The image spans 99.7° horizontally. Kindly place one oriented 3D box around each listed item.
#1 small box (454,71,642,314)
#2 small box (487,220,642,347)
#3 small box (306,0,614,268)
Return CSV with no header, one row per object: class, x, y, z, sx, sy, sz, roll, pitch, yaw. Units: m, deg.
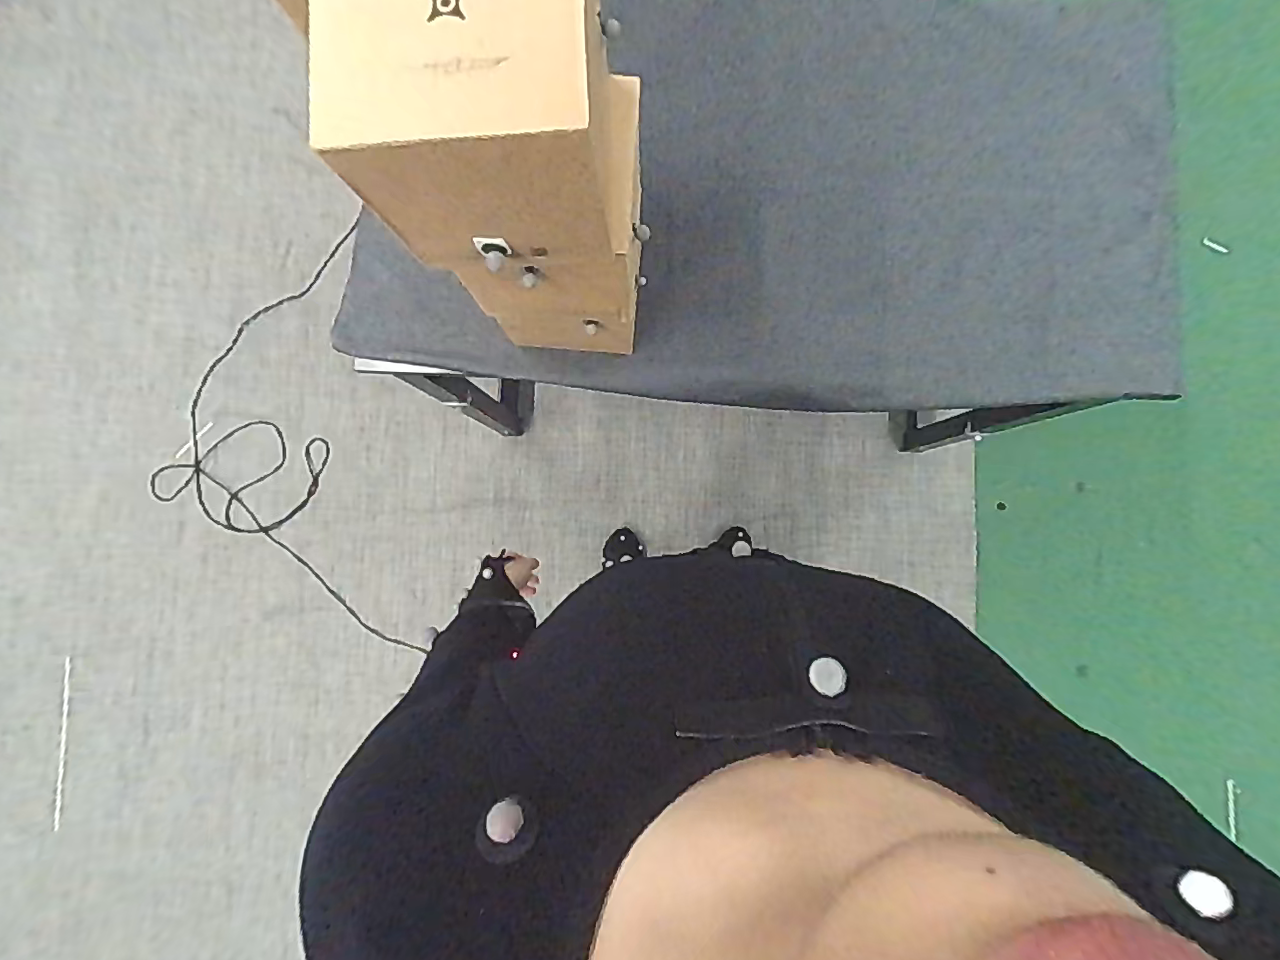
small box,-0.089,-0.281,0.557,0.179,0.176,0.168,4,87,2
small box,-0.091,-0.284,0.719,0.179,0.176,0.168,5,86,2
small box,-0.110,-0.279,0.395,0.168,0.176,0.179,-3,88,3
